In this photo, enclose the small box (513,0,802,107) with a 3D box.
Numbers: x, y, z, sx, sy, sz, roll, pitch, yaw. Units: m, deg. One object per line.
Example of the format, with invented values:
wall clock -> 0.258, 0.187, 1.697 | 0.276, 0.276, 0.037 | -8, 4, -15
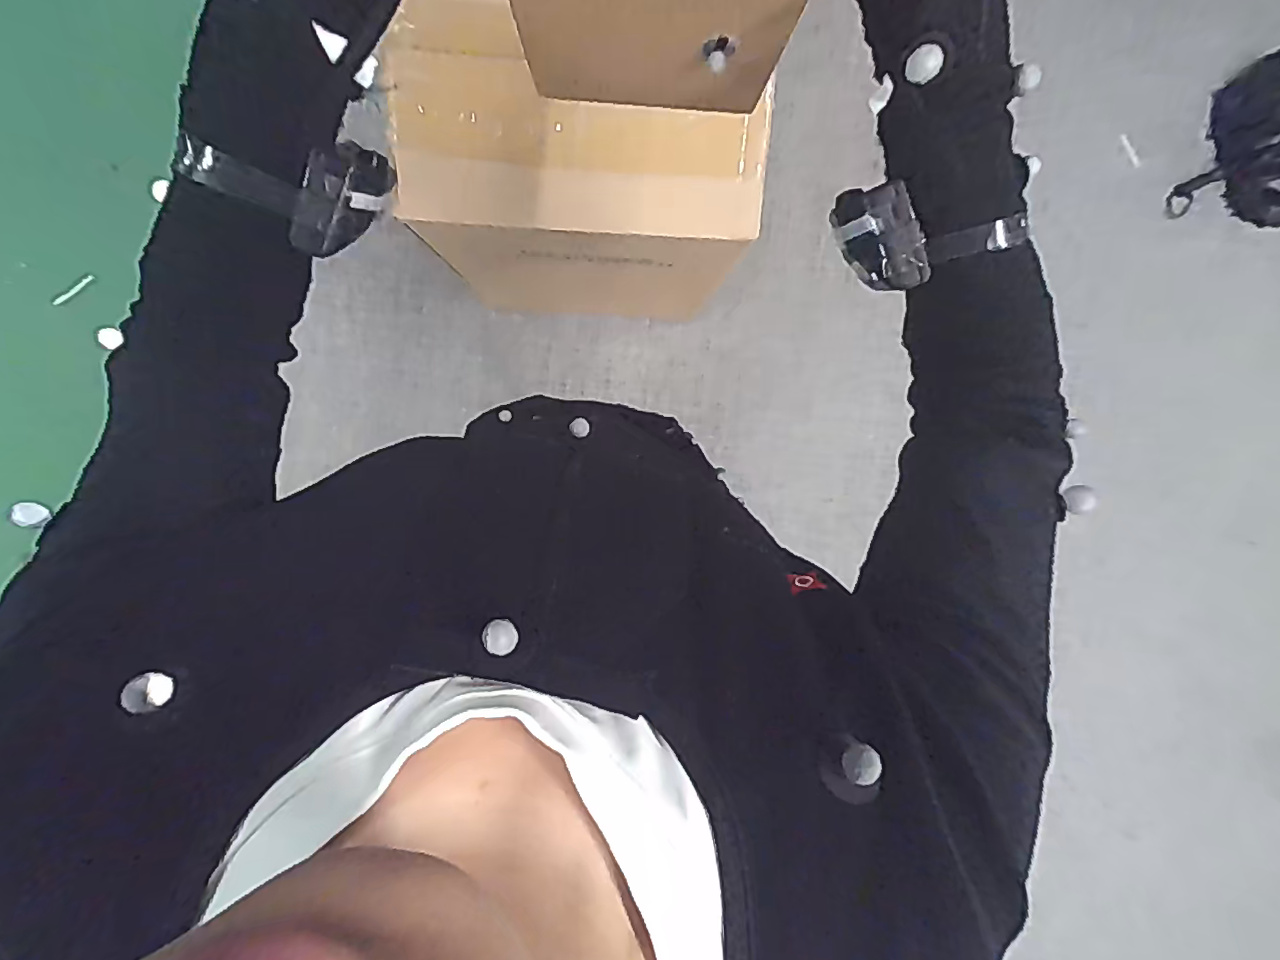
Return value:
small box -> 0.013, -0.367, 0.342 | 0.179, 0.176, 0.168 | 2, 99, 0
